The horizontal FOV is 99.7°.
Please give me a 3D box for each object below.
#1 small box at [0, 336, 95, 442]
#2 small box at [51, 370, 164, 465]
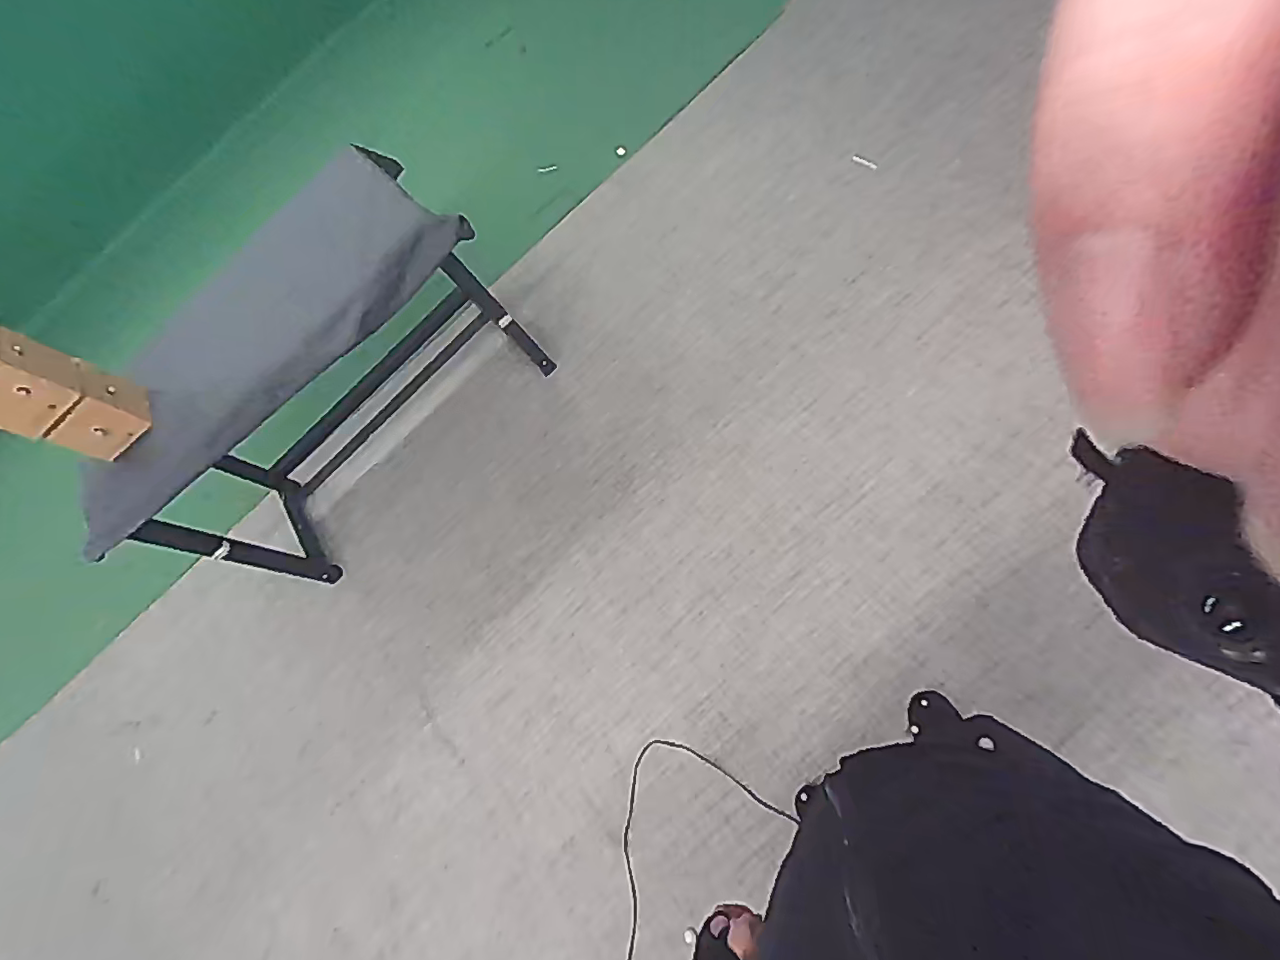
[{"bbox_3d":[-1.519,-0.217,1.352,0.168,0.176,0.179,-44,58,-2],"label":"small box"},{"bbox_3d":[-1.471,-0.164,1.499,0.168,0.176,0.179,-42,60,0],"label":"small box"}]
